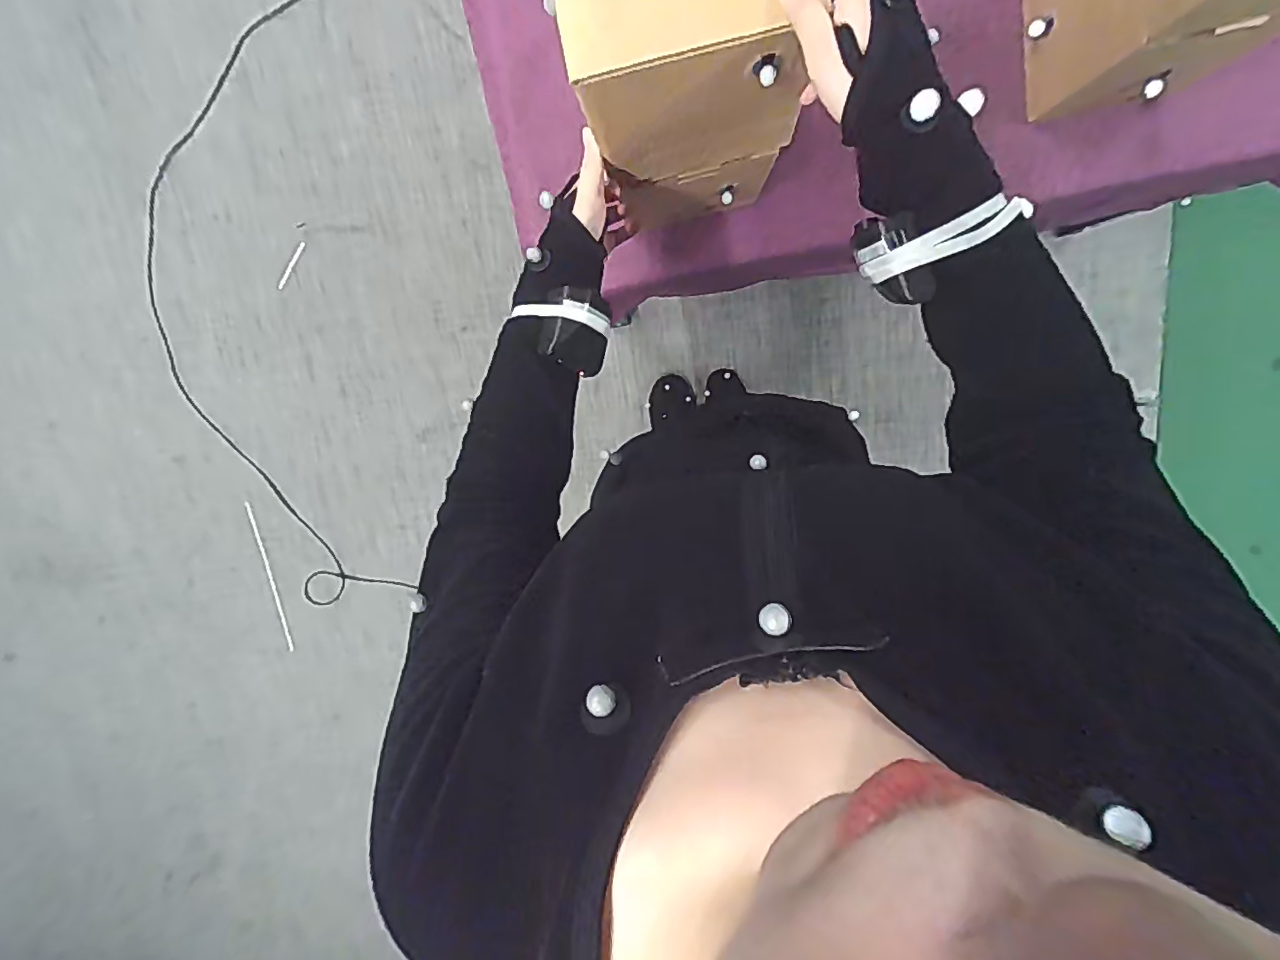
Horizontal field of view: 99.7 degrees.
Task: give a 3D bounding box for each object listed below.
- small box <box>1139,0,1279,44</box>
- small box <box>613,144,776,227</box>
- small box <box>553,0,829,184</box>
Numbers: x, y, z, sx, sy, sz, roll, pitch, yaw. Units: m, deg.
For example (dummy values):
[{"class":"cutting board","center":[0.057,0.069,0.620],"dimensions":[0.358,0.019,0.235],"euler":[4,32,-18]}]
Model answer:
[{"class":"small box","center":[0.514,-0.463,0.390],"dimensions":[0.179,0.176,0.168],"euler":[-10,101,5]},{"class":"small box","center":[0.043,-0.398,0.598],"dimensions":[0.168,0.176,0.179],"euler":[-11,100,4]},{"class":"small box","center":[0.030,-0.364,0.428],"dimensions":[0.179,0.176,0.168],"euler":[-10,95,5]}]
